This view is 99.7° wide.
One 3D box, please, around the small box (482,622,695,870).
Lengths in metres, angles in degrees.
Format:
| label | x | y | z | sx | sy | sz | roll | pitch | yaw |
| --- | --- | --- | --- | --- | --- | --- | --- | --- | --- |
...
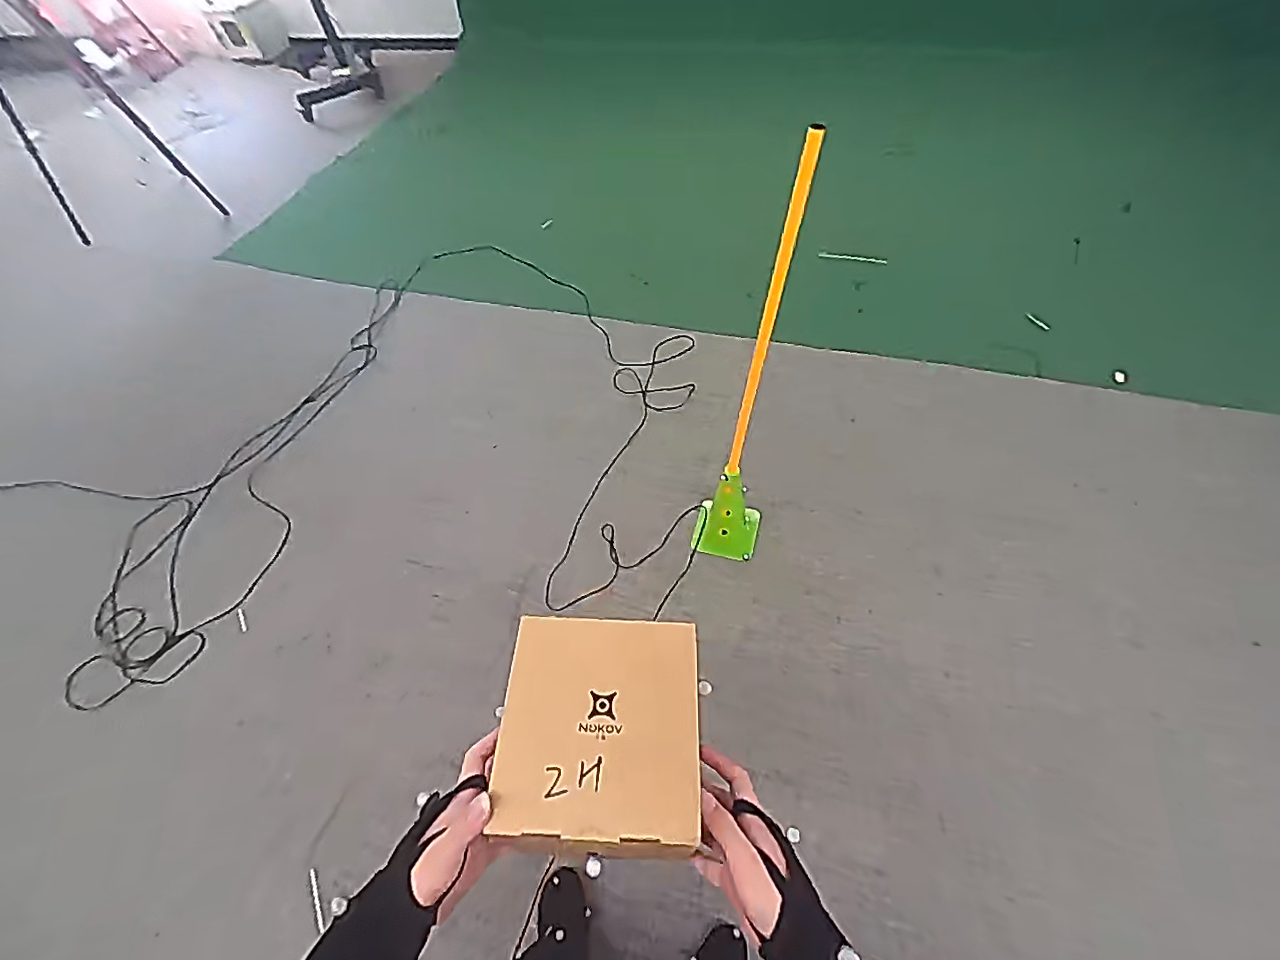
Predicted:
| label | x | y | z | sx | sy | sz | roll | pitch | yaw |
| --- | --- | --- | --- | --- | --- | --- | --- | --- | --- |
| small box | -0.037 | 0.258 | 0.521 | 0.168 | 0.176 | 0.179 | 3 | 51 | 1 |

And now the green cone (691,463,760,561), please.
| label | x | y | z | sx | sy | sz | roll | pitch | yaw |
| --- | --- | --- | --- | --- | --- | --- | --- | --- | --- |
| green cone | 0.271 | 0.069 | 1.664 | 0.202 | 0.368 | 0.200 | 11 | 57 | 14 |
